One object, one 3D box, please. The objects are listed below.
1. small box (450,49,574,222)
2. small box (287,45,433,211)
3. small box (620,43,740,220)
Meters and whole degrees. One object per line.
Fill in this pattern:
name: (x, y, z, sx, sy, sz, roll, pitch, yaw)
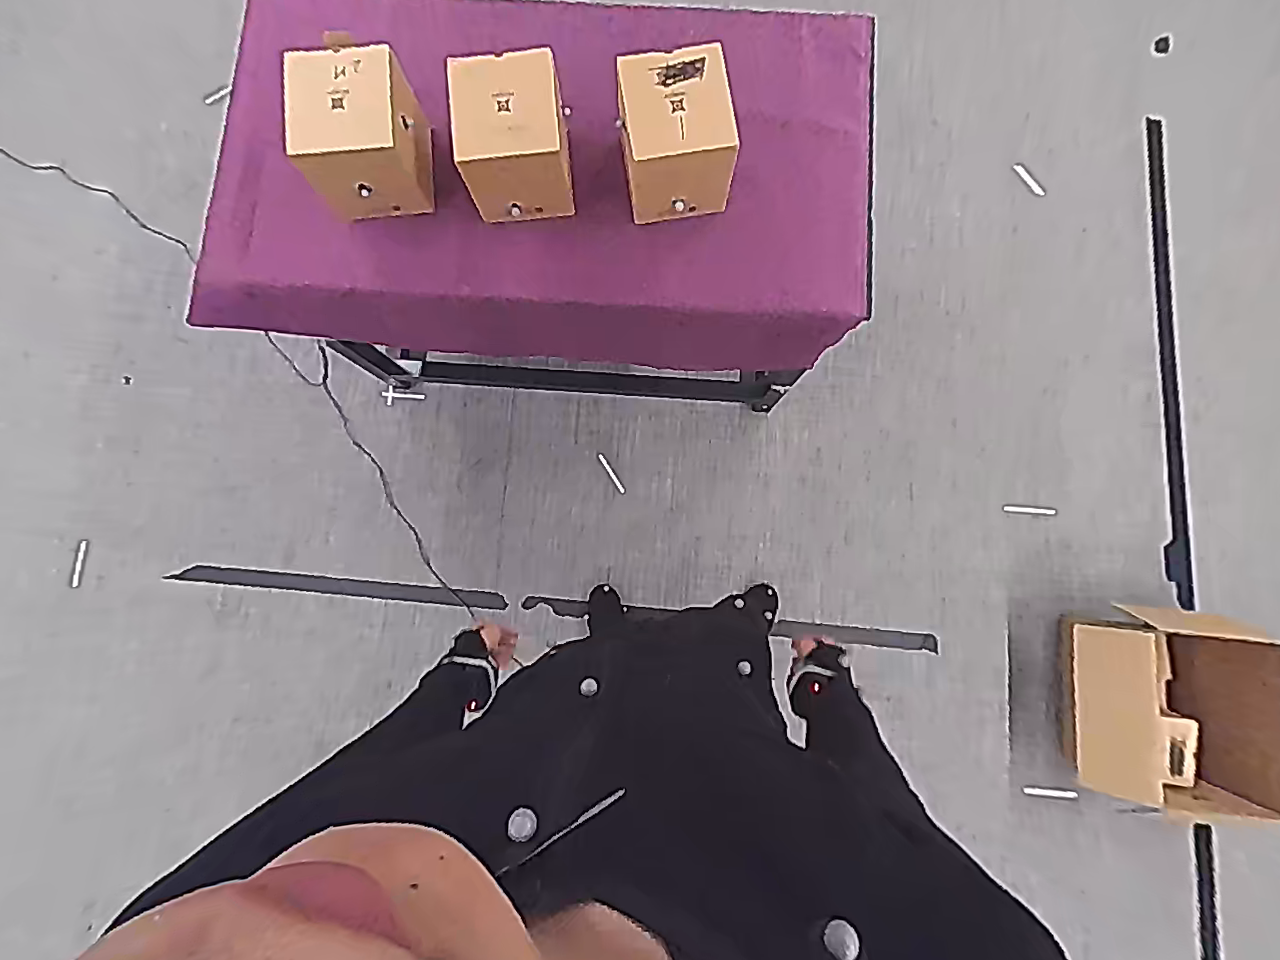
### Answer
small box: (-0.207, -0.569, 0.909, 0.168, 0.176, 0.179, -6, 83, 0)
small box: (-0.460, -0.576, 0.911, 0.168, 0.176, 0.179, -5, 83, -1)
small box: (0.060, -0.572, 0.906, 0.168, 0.176, 0.179, -9, 84, 0)
